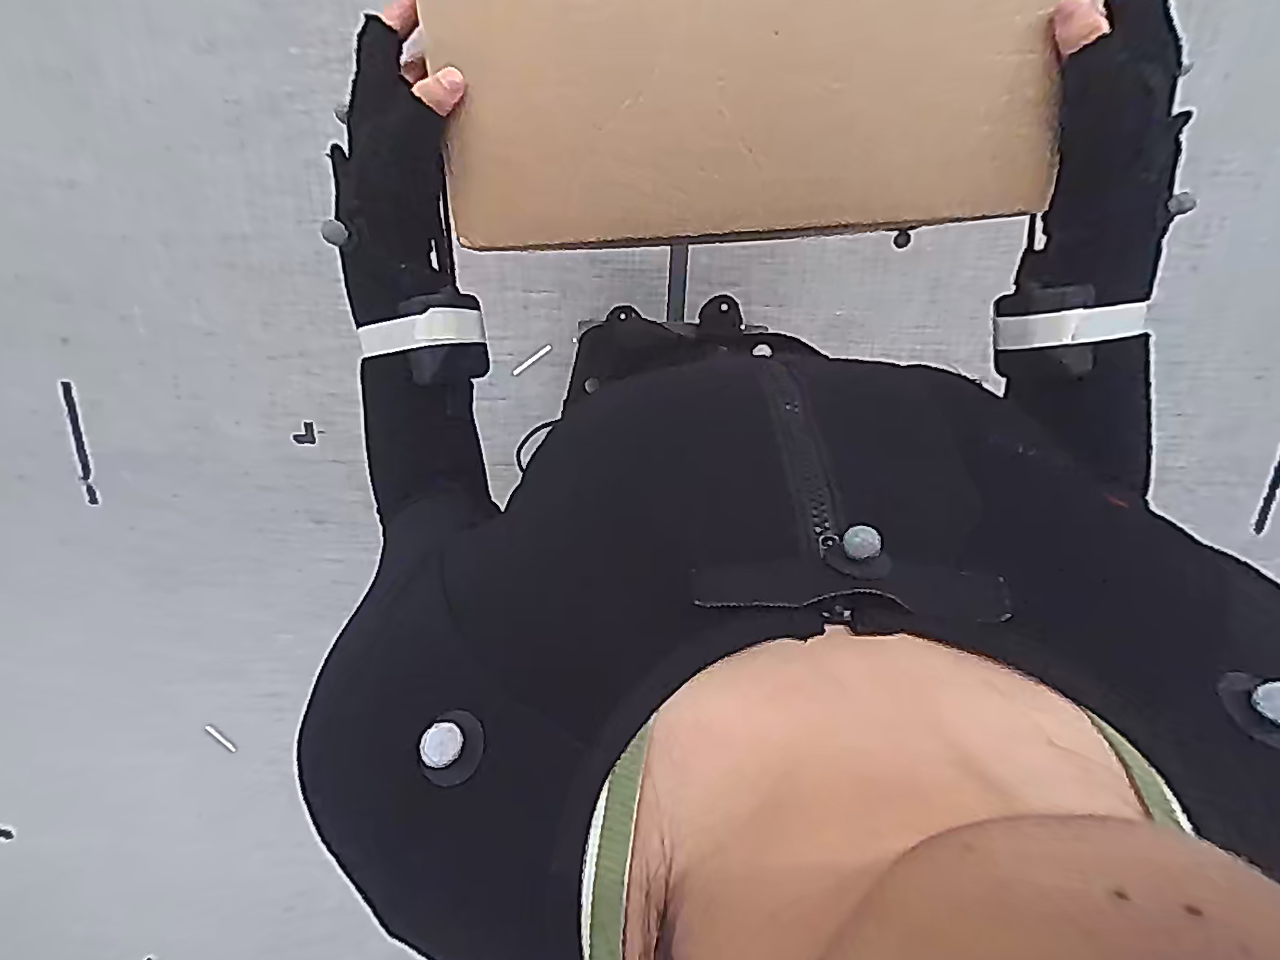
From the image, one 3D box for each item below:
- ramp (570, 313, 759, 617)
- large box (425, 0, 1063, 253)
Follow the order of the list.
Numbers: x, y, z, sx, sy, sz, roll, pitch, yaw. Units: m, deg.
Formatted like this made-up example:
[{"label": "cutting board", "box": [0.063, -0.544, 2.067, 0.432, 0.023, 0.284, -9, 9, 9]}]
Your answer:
[{"label": "ramp", "box": [0.051, 0.019, 1.612, 0.509, 0.206, 0.991, 0, 108, -1]}, {"label": "large box", "box": [0.065, -0.377, 0.464, 0.408, 0.320, 0.320, -3, 112, 2]}]
